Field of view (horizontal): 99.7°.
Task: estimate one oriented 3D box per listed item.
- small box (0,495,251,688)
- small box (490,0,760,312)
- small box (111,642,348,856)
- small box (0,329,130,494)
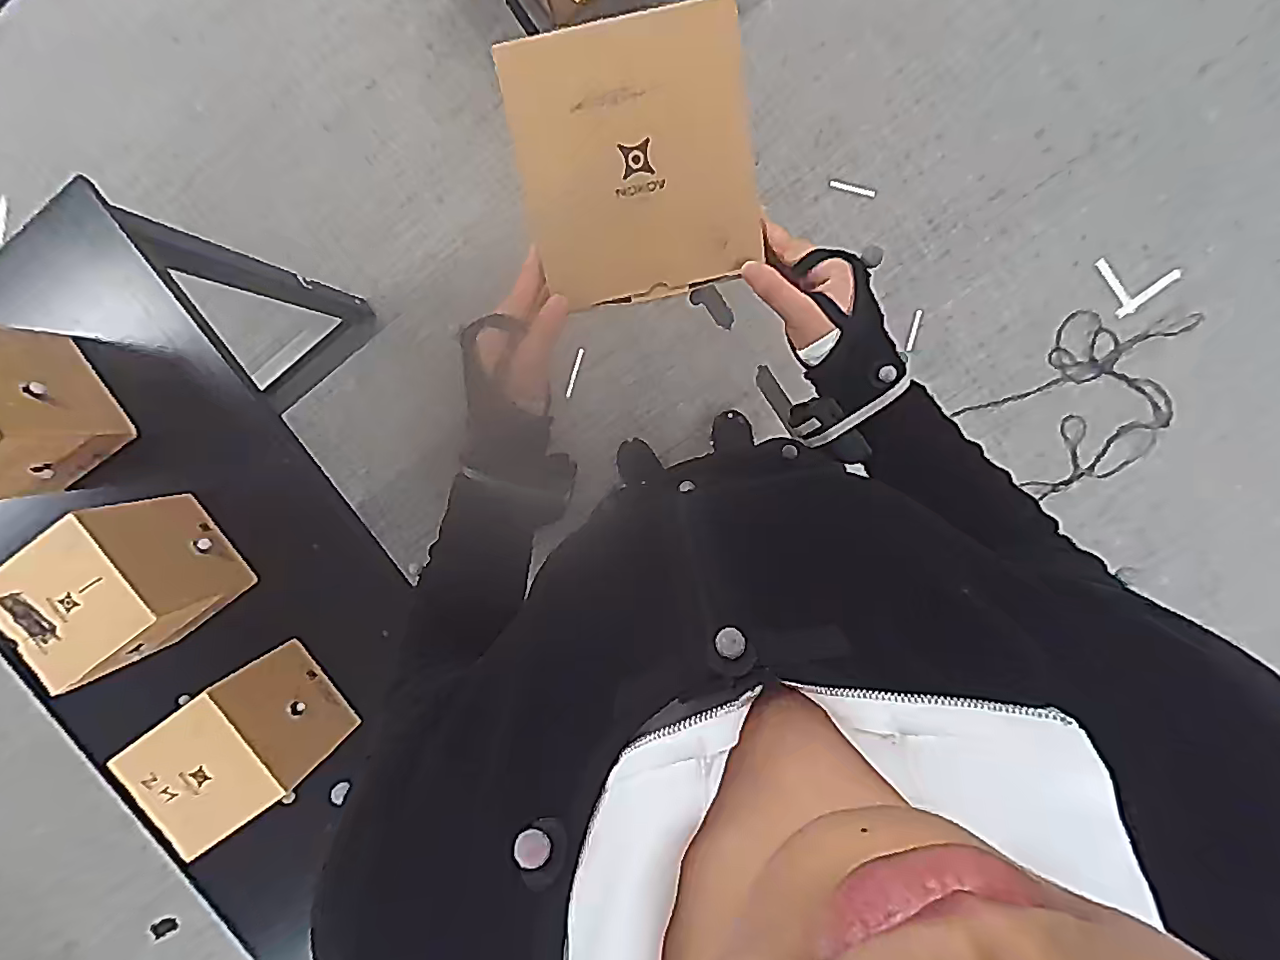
[{"bbox_3d":[-0.696,0.140,0.740,0.179,0.176,0.168,-35,94,6],"label":"small box"},{"bbox_3d":[-0.006,-0.248,0.455,0.168,0.176,0.179,-12,108,2],"label":"small box"},{"bbox_3d":[-0.549,0.360,0.758,0.179,0.176,0.168,-35,93,7],"label":"small box"},{"bbox_3d":[-0.858,-0.090,0.720,0.168,0.176,0.179,-33,95,7],"label":"small box"}]
